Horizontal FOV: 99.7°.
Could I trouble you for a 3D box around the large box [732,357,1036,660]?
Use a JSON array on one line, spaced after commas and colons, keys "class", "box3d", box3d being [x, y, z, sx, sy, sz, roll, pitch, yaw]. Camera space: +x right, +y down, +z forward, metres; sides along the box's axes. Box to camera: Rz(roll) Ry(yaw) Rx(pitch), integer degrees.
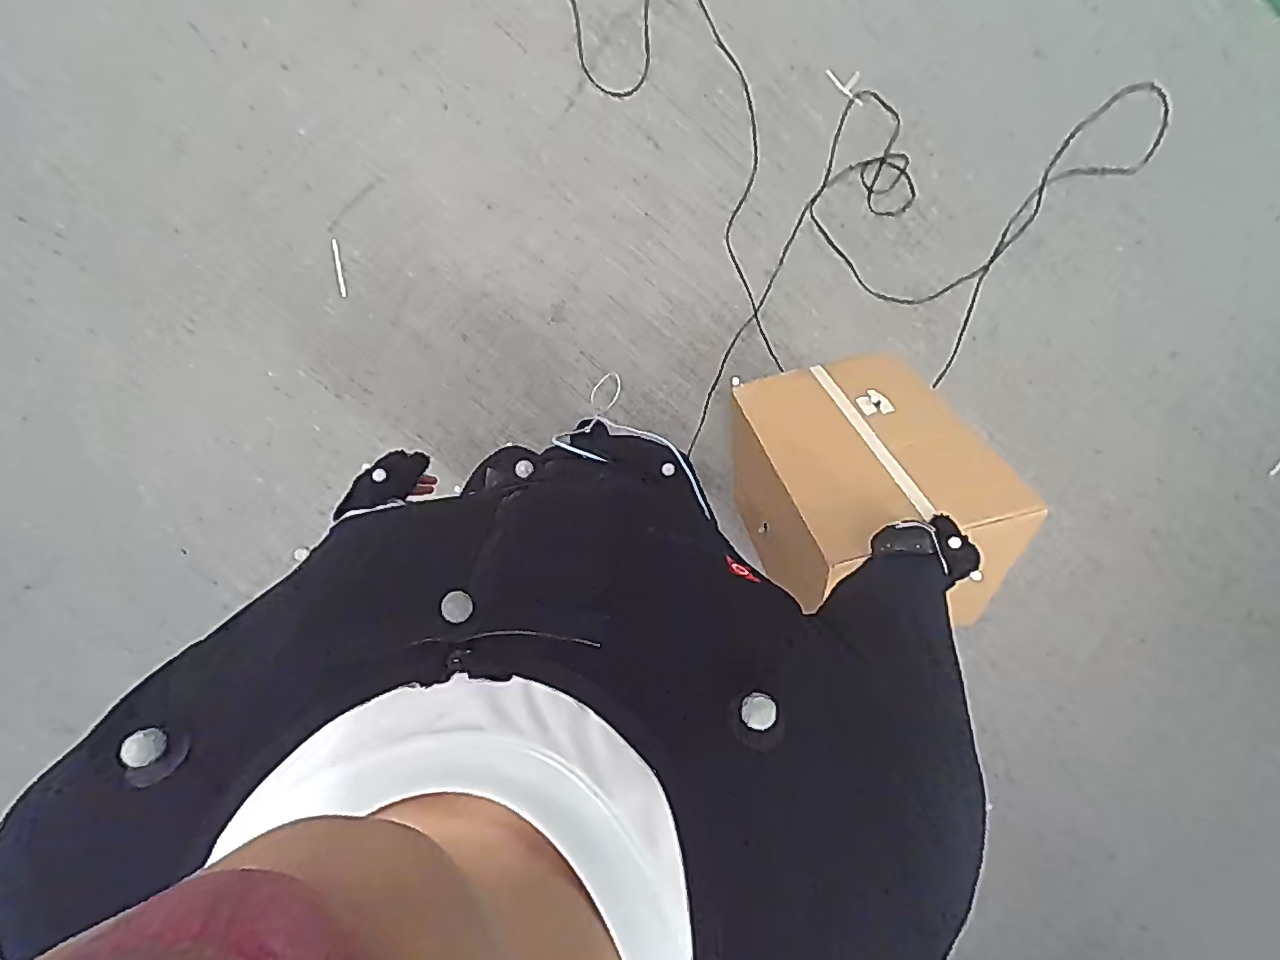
[{"class": "large box", "box3d": [0.380, 0.043, 0.975, 0.320, 0.408, 0.320, -13, 136, -3]}]
